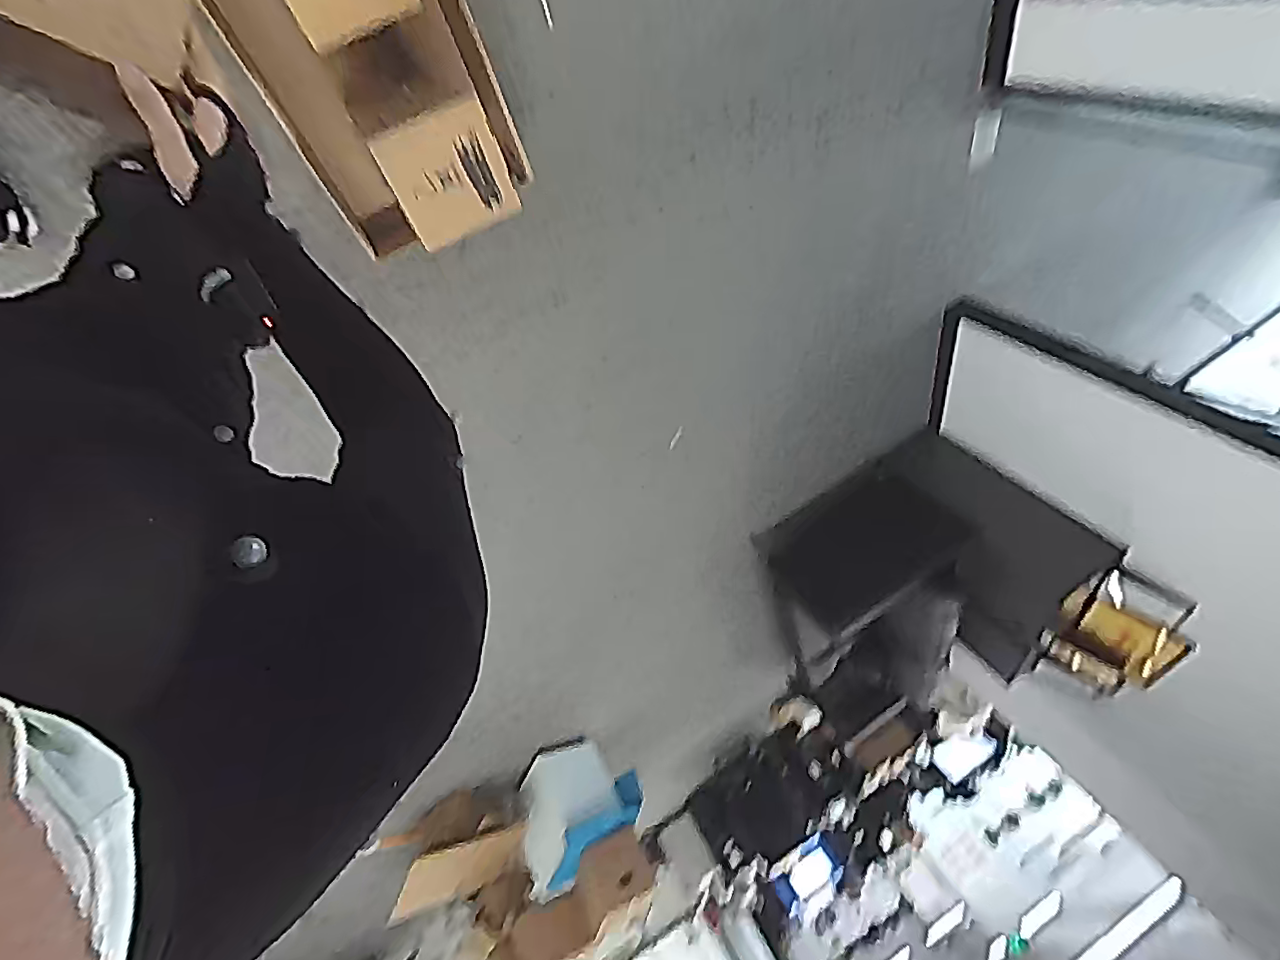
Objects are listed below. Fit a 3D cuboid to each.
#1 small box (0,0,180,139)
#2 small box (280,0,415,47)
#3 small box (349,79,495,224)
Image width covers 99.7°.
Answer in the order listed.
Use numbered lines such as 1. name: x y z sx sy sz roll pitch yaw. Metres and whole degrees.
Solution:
1. small box: -0.493 -0.426 0.442 0.168 0.176 0.179 4 95 -46
2. small box: -0.463 -0.768 0.789 0.179 0.176 0.168 -33 139 -8
3. small box: -0.399 -0.604 0.986 0.179 0.176 0.168 -32 137 -8
